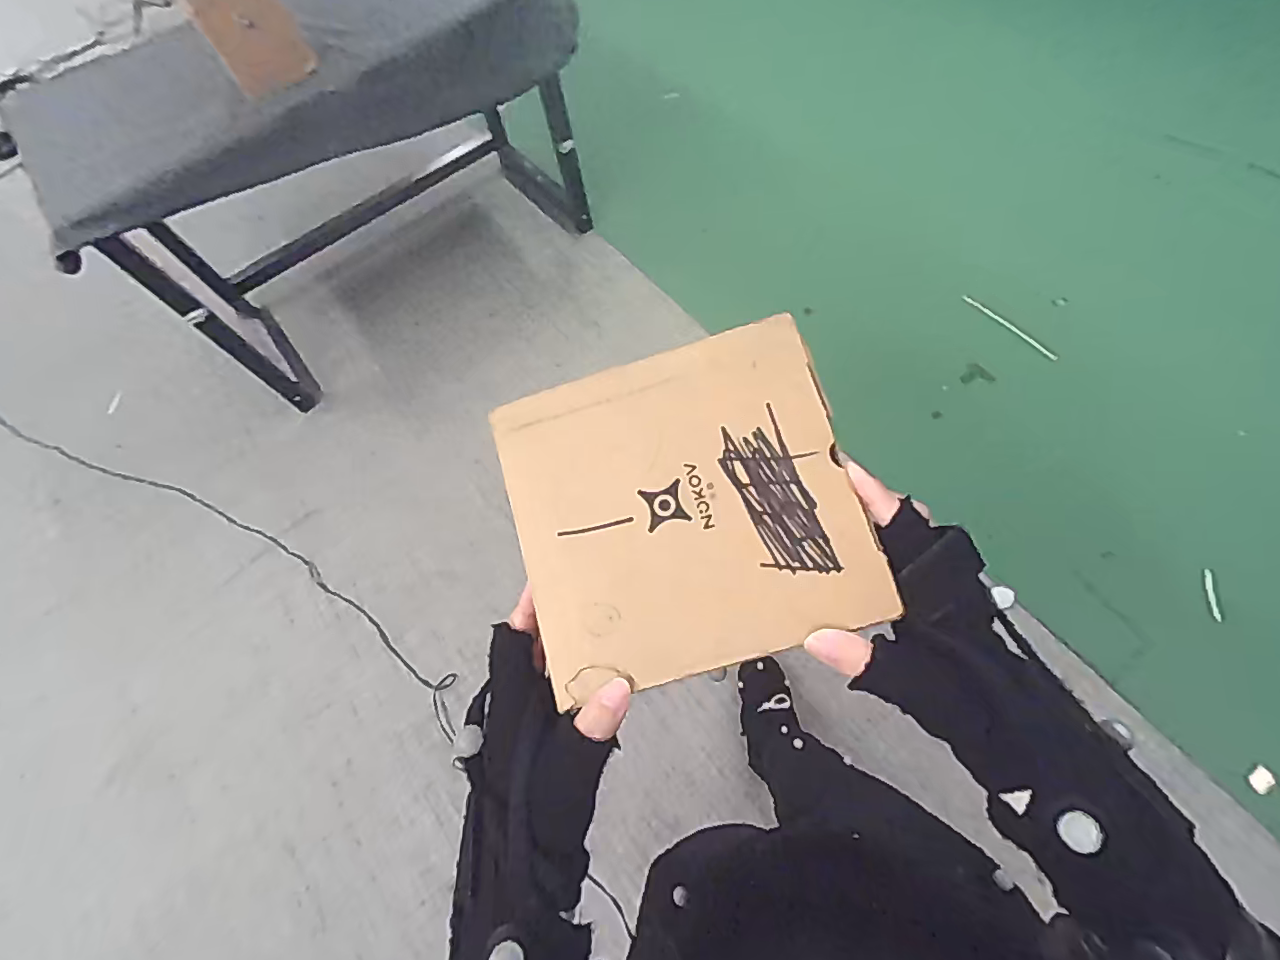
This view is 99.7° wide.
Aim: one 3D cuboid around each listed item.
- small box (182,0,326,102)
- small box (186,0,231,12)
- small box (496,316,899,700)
[{"bbox_3d":[-0.832,-0.967,1.174,0.179,0.176,0.168,-36,67,-12],"label":"small box"},{"bbox_3d":[-0.851,-1.040,1.029,0.168,0.176,0.179,-38,67,-11],"label":"small box"},{"bbox_3d":[0.031,0.025,0.358,0.179,0.176,0.168,-17,77,3],"label":"small box"}]
